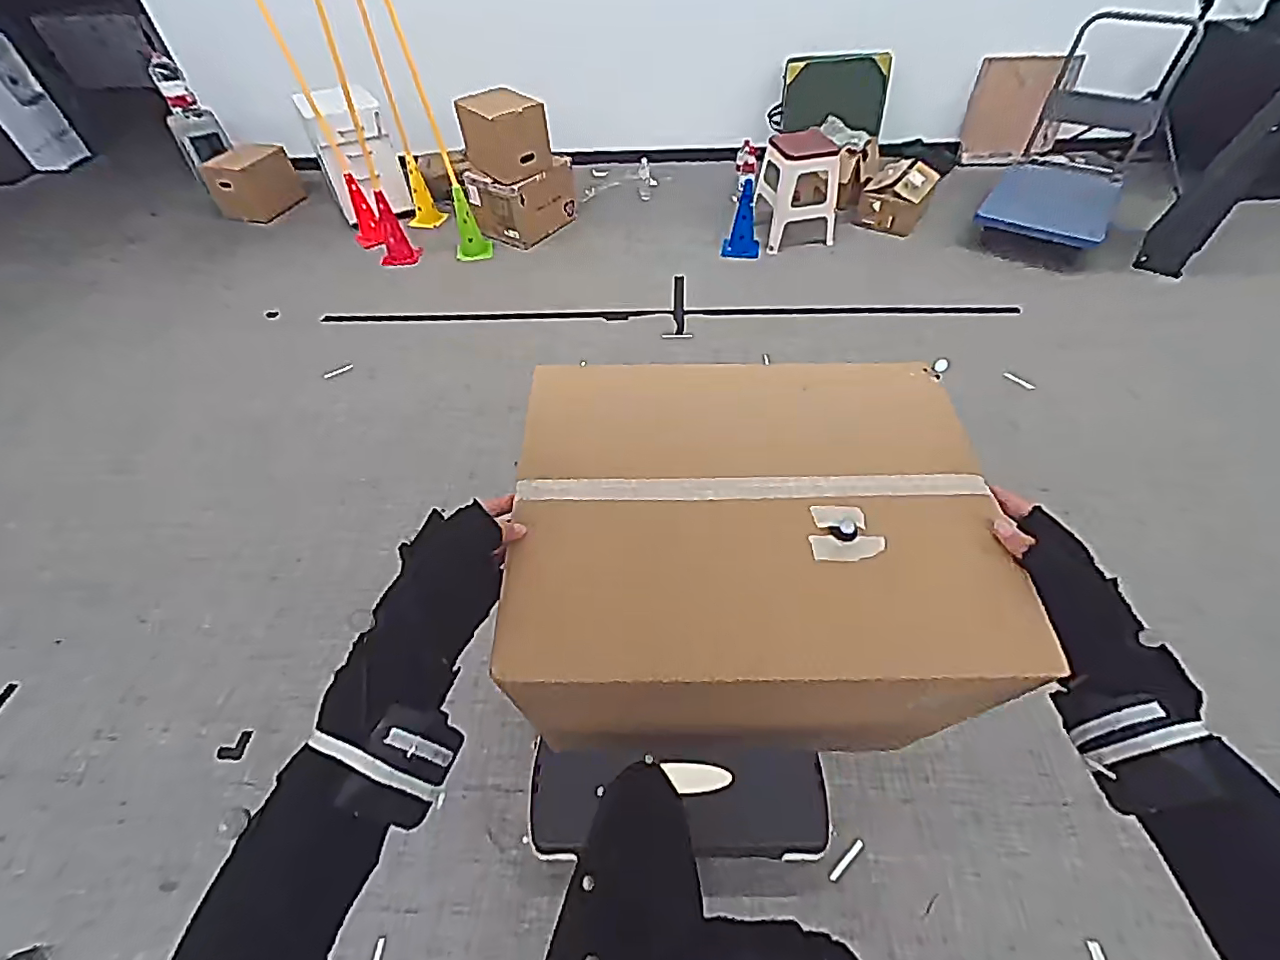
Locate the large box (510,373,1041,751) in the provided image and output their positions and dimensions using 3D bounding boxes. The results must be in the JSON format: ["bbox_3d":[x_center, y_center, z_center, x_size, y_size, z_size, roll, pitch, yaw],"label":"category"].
[{"bbox_3d":[0.096,0.101,0.602,0.408,0.320,0.320,-1,55,-1],"label":"large box"}]
